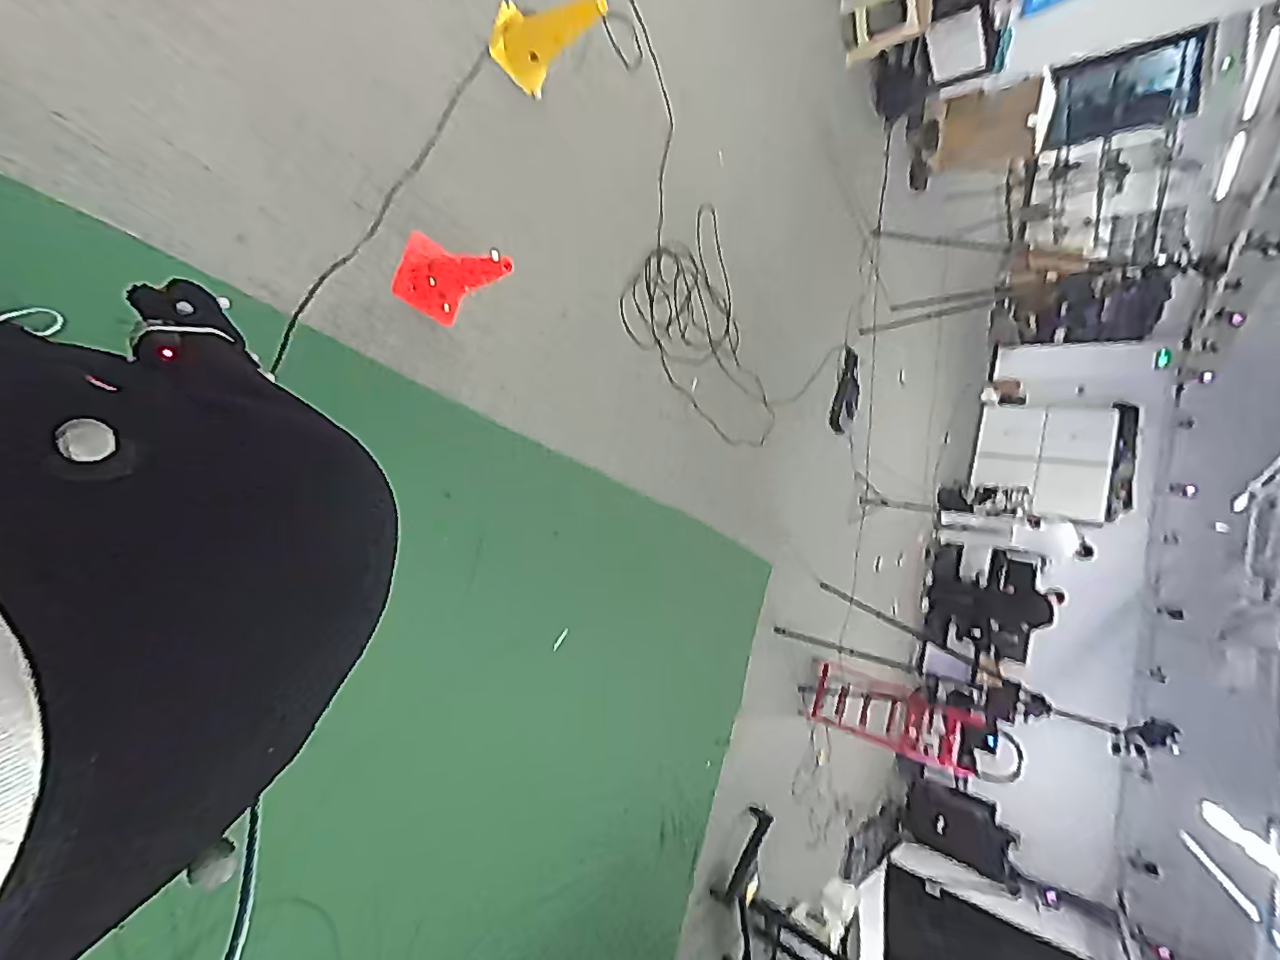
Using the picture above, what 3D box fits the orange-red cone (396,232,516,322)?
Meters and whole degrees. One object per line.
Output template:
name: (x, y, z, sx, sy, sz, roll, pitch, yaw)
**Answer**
orange-red cone: (-0.463, -0.567, 1.462, 0.198, 0.360, 0.199, 28, 74, -50)
